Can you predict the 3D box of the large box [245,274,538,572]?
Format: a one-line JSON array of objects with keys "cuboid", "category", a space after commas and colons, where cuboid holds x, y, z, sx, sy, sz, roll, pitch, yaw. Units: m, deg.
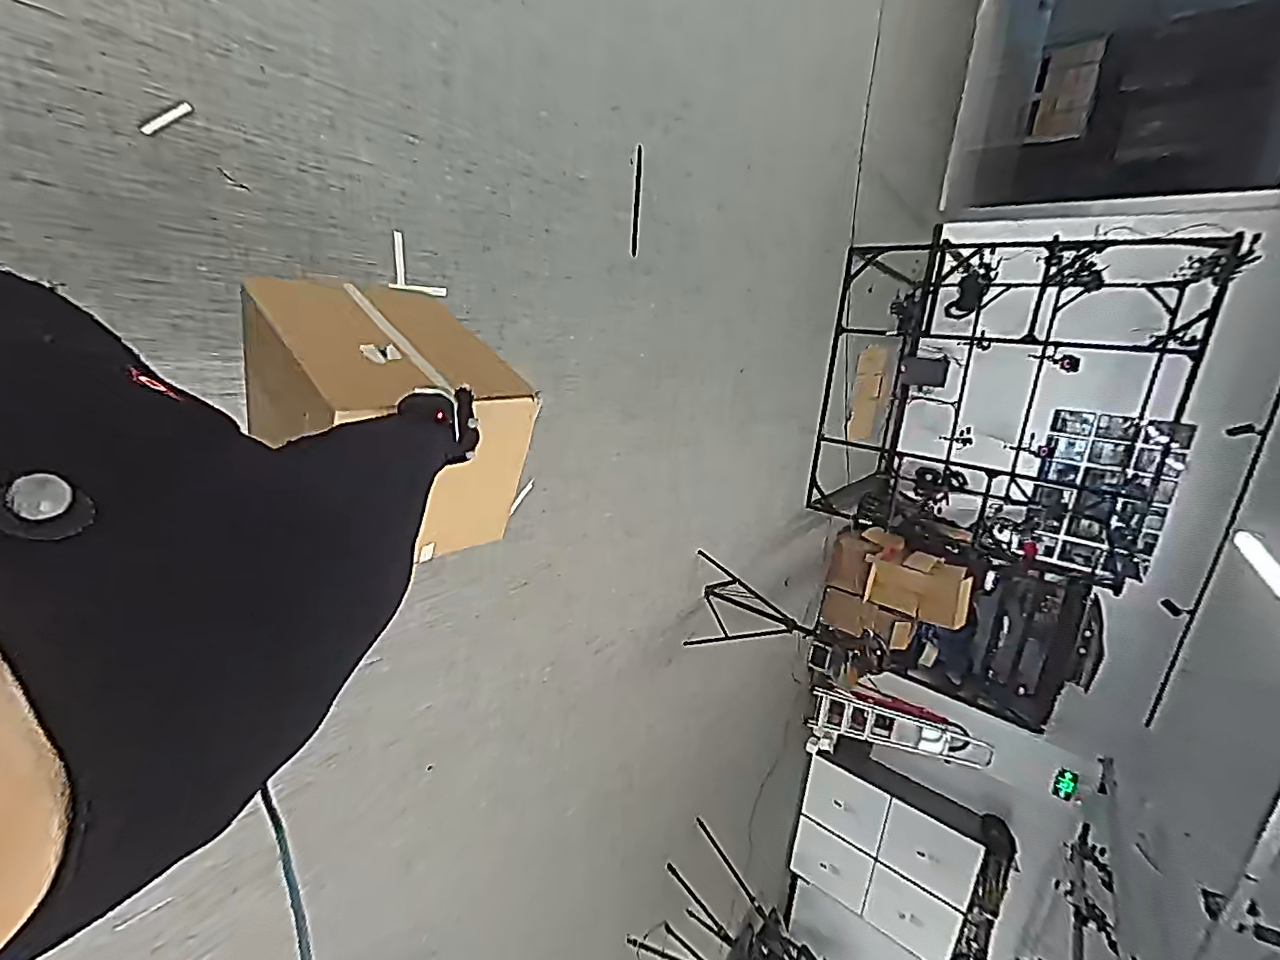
[{"cuboid": [-0.451, -0.113, 0.948, 0.320, 0.408, 0.320, -14, 138, -46], "category": "large box"}]
